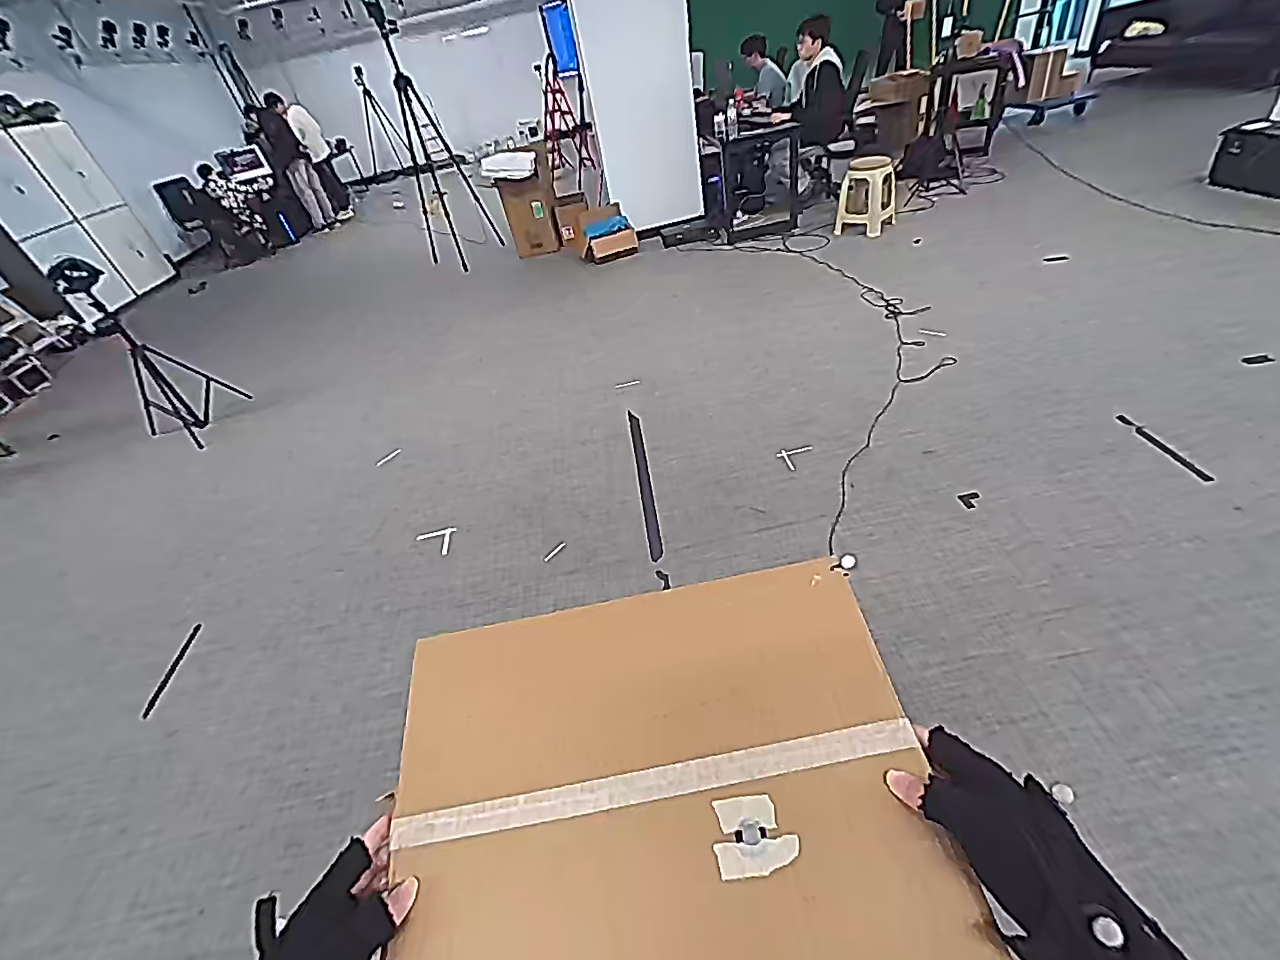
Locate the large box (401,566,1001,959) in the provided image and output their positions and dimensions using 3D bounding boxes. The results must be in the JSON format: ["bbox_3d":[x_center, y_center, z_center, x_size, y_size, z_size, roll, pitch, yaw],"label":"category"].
[{"bbox_3d":[0.033,0.332,0.544,0.408,0.320,0.320,-12,52,1],"label":"large box"}]
